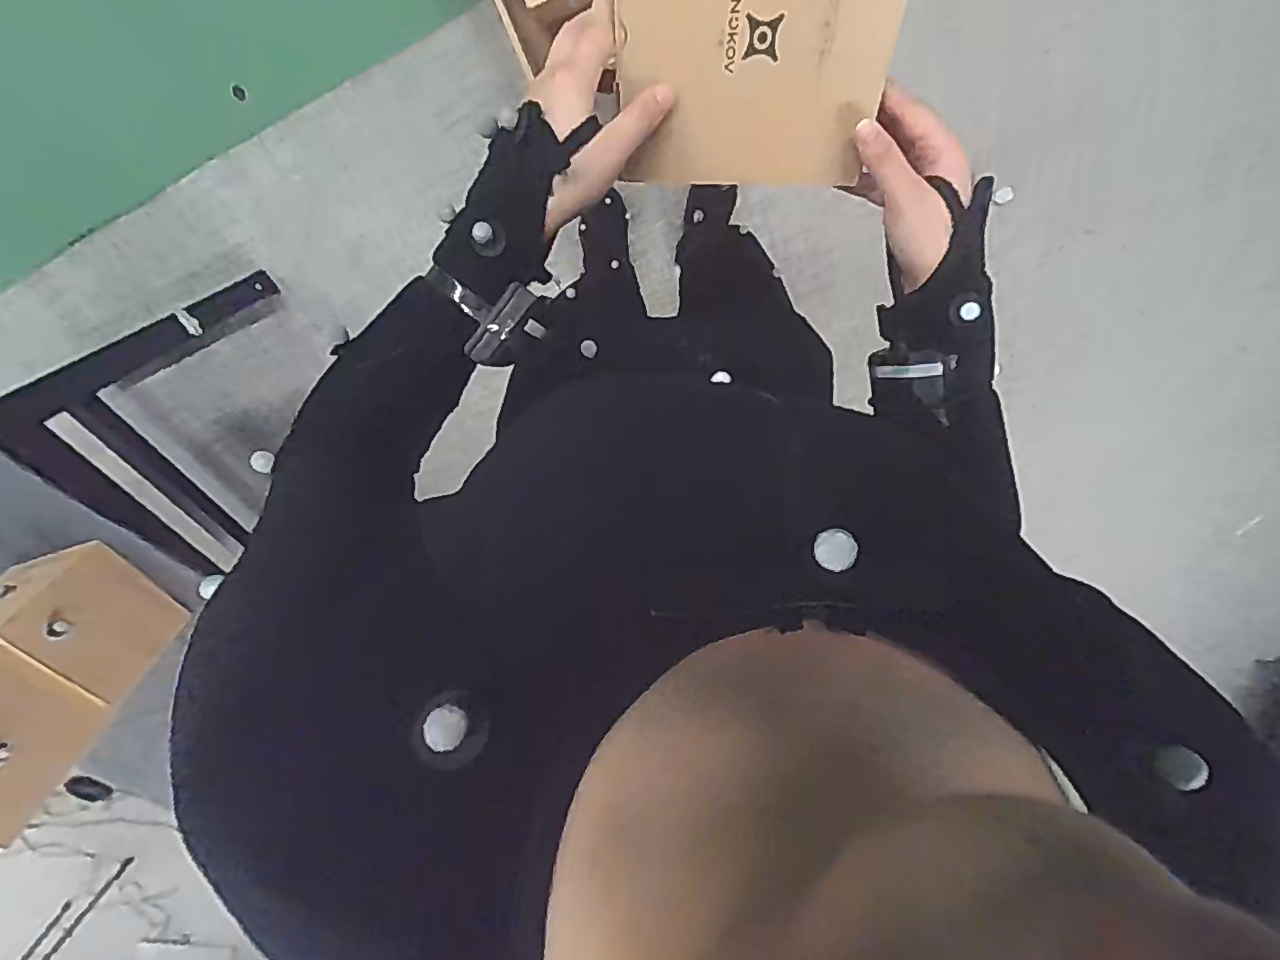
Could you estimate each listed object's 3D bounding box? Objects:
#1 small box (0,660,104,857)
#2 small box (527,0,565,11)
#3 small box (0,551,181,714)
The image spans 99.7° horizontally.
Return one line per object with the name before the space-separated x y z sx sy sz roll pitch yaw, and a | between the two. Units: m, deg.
small box | -0.811 0.327 0.624 0.168 0.176 0.179 -17 126 9
small box | -0.136 -0.897 0.872 0.179 0.176 0.168 -19 125 8
small box | -0.813 0.217 0.748 0.168 0.176 0.179 -16 126 8
